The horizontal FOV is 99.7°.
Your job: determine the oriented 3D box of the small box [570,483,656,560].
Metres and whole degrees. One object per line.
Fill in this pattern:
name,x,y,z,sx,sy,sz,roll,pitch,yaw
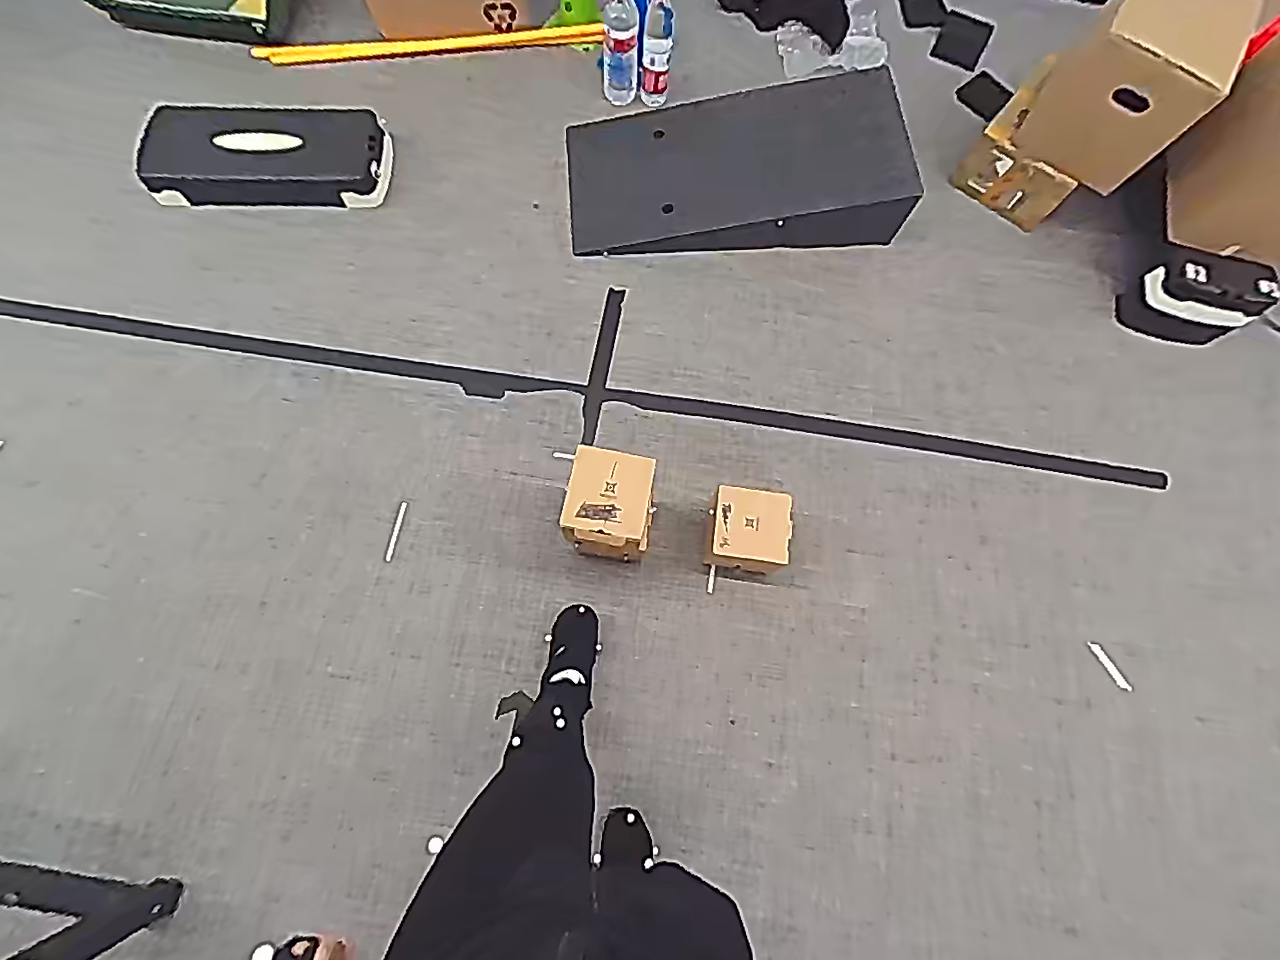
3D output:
small box,-0.064,0.093,1.300,0.179,0.176,0.168,9,73,0

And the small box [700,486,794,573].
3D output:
small box,0.254,0.126,1.306,0.179,0.176,0.168,9,73,-1

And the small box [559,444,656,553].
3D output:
small box,-0.065,0.047,1.142,0.168,0.176,0.179,11,72,0
